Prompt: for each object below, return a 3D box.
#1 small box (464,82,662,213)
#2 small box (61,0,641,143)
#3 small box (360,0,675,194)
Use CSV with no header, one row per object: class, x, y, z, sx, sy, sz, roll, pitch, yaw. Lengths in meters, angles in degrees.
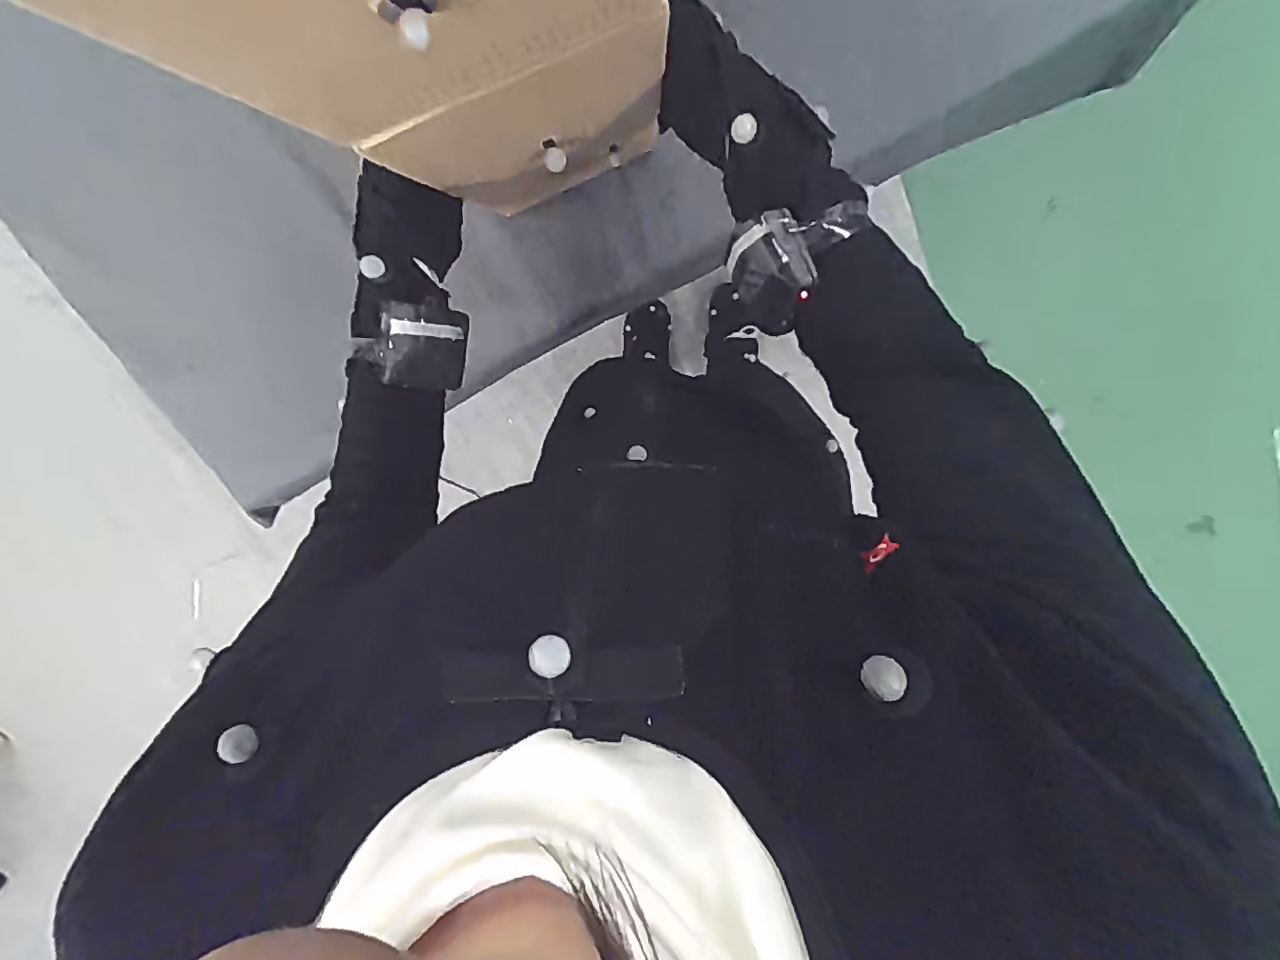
small box,-0.090,-0.359,0.478,0.179,0.176,0.168,-20,108,10
small box,-0.091,-0.243,0.171,0.179,0.176,0.168,-21,109,7
small box,-0.091,-0.298,0.325,0.179,0.176,0.168,-19,107,7
